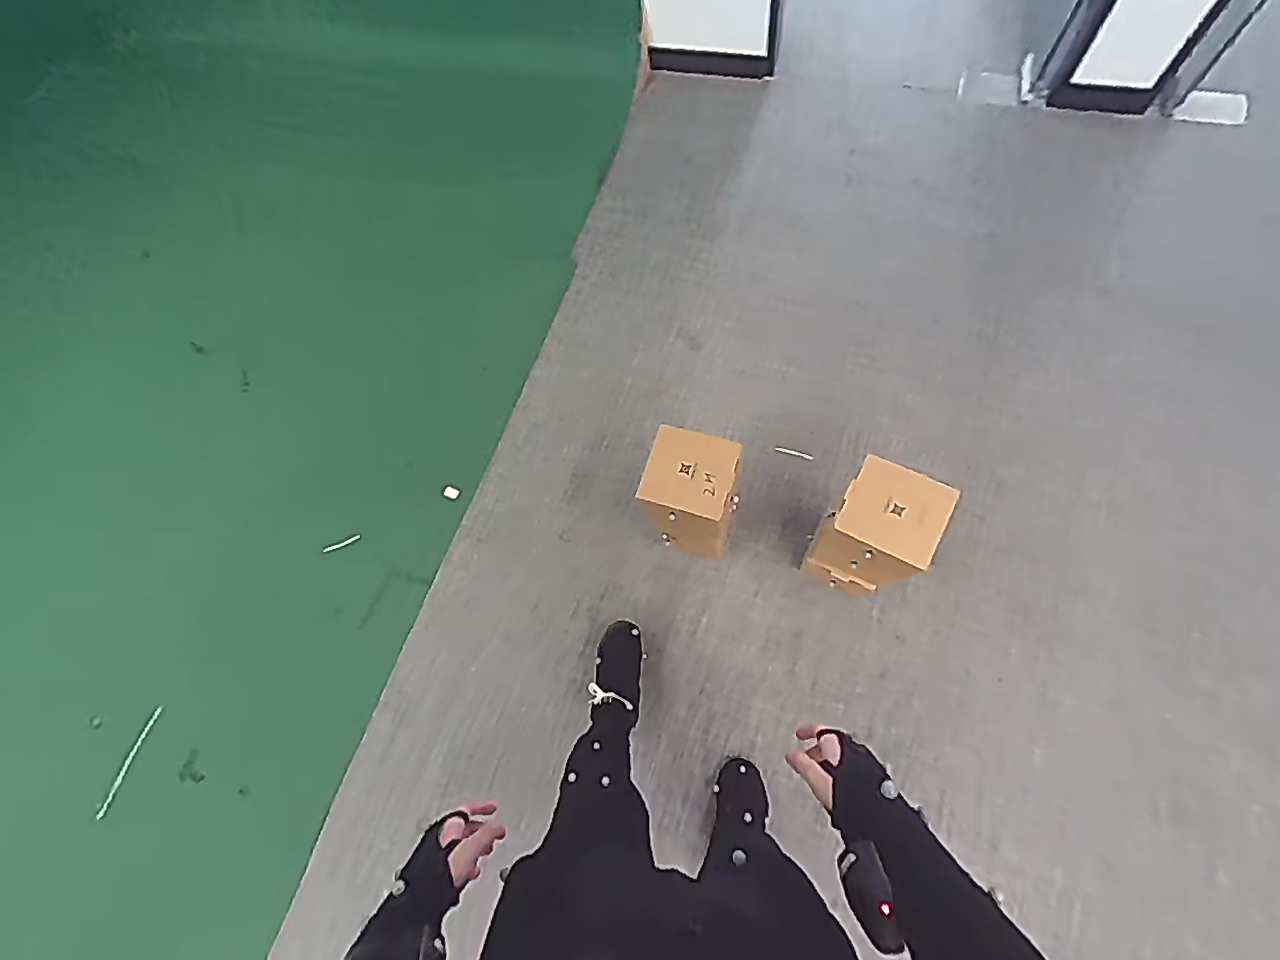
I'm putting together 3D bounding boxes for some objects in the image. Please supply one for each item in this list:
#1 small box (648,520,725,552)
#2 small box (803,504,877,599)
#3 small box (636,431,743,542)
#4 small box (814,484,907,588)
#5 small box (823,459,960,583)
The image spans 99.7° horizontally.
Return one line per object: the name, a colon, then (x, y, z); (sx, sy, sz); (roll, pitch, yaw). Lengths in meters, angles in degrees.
small box: (0.132, 0.061, 1.299); (0.168, 0.176, 0.179); (14, 73, 13)
small box: (0.525, 0.188, 1.367); (0.168, 0.176, 0.179); (24, 78, 15)
small box: (0.109, 0.020, 1.140); (0.179, 0.176, 0.168); (15, 75, 13)
small box: (0.512, 0.132, 1.214); (0.179, 0.176, 0.168); (22, 76, 16)
small box: (0.479, 0.088, 1.061); (0.179, 0.176, 0.168); (27, 78, 17)
